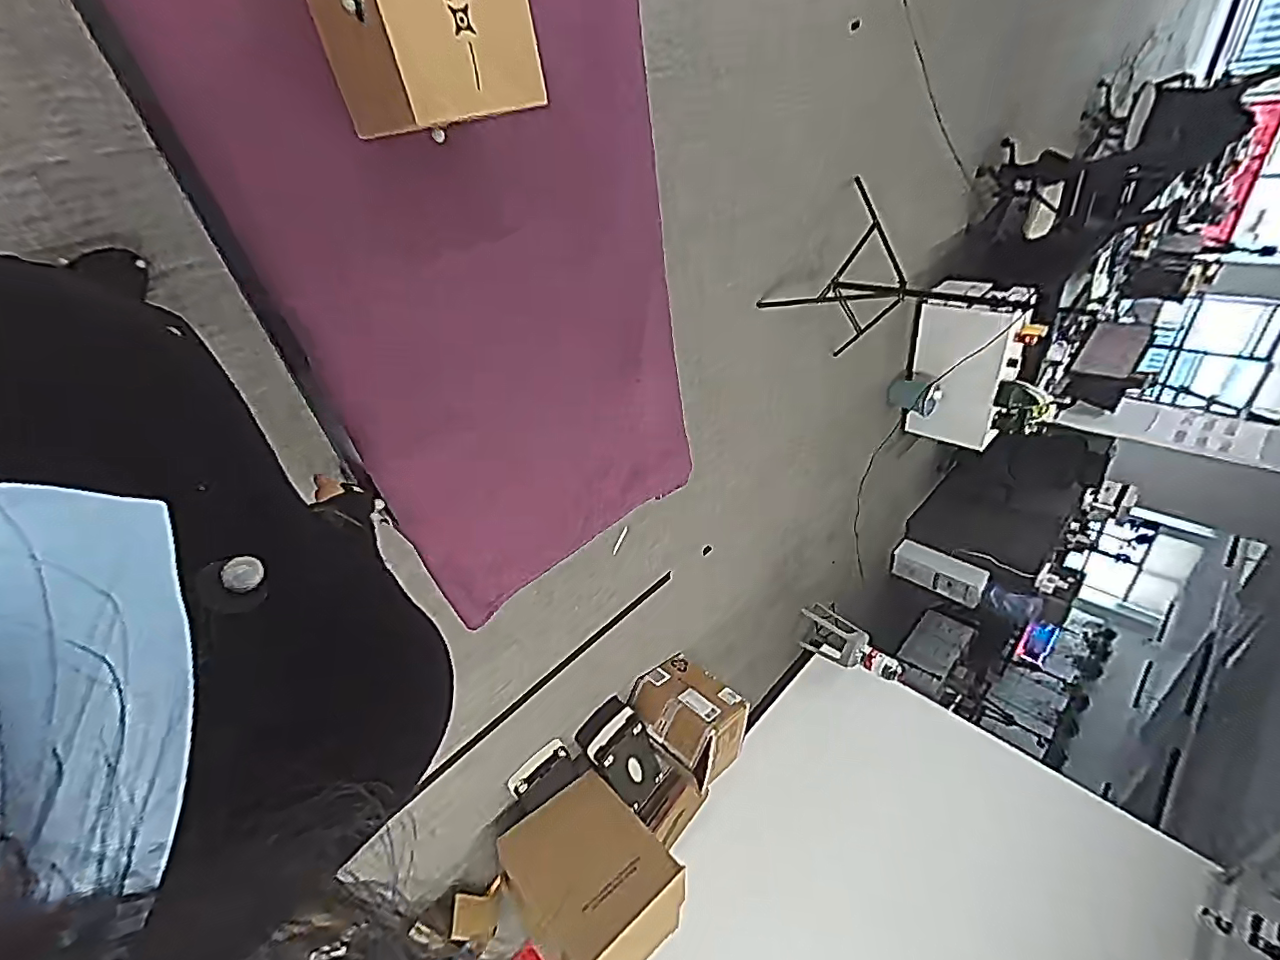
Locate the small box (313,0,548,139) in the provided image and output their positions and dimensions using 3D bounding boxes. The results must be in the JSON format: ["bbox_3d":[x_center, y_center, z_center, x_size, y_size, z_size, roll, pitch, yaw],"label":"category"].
[{"bbox_3d":[-0.230,-0.487,0.584,0.168,0.176,0.179,-34,132,-30],"label":"small box"}]

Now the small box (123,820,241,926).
[{"bbox_3d":[-1.183,1.026,1.396,0.168,0.176,0.179,-37,134,-28],"label":"small box"}]
